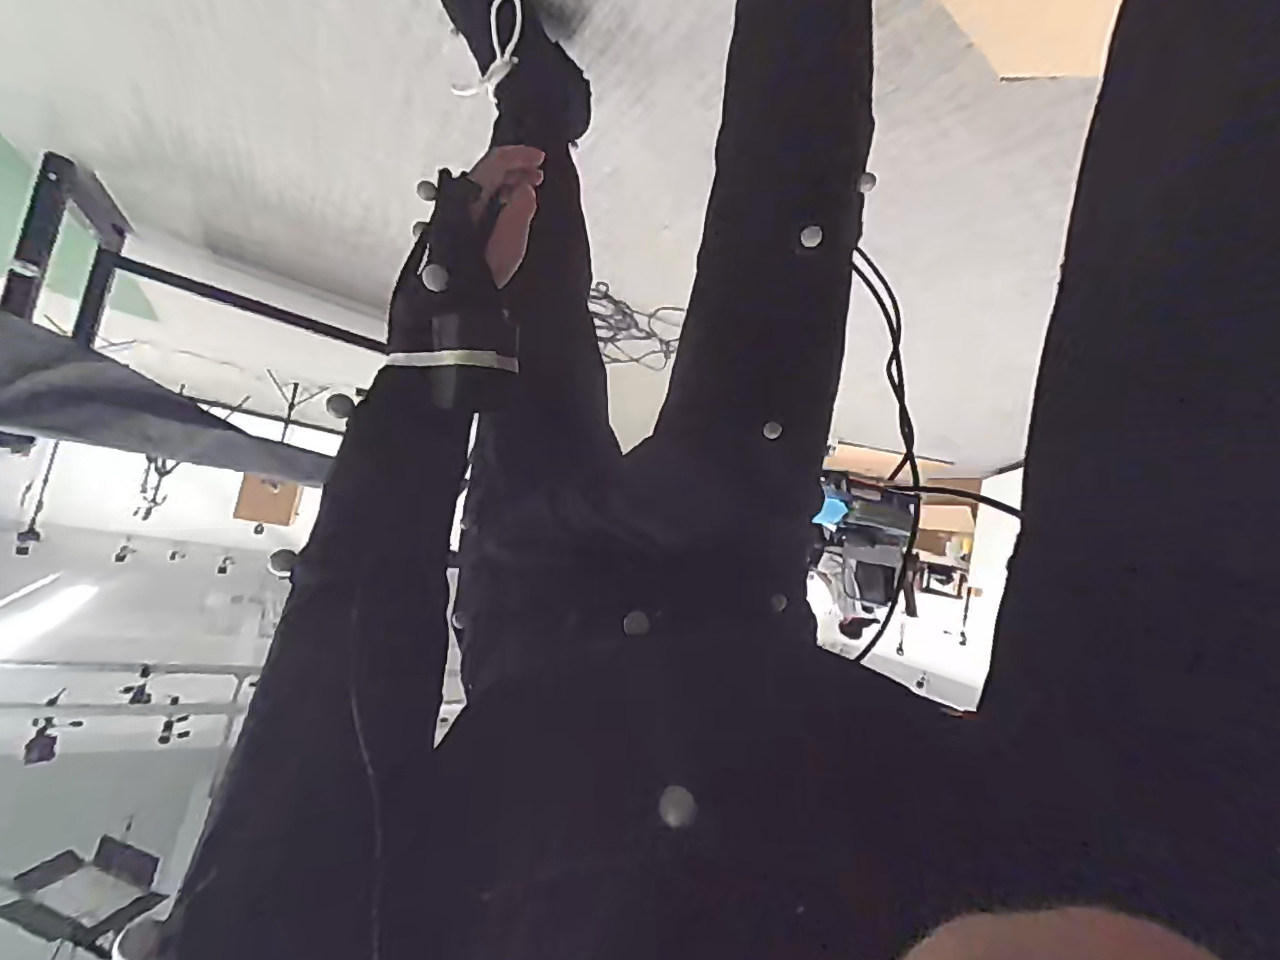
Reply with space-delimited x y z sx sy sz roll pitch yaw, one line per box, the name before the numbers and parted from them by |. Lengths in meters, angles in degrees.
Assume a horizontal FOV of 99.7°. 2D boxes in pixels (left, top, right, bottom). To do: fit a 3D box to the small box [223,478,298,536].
small box | -1.300 0.092 1.864 0.168 0.176 0.179 13 174 -26
